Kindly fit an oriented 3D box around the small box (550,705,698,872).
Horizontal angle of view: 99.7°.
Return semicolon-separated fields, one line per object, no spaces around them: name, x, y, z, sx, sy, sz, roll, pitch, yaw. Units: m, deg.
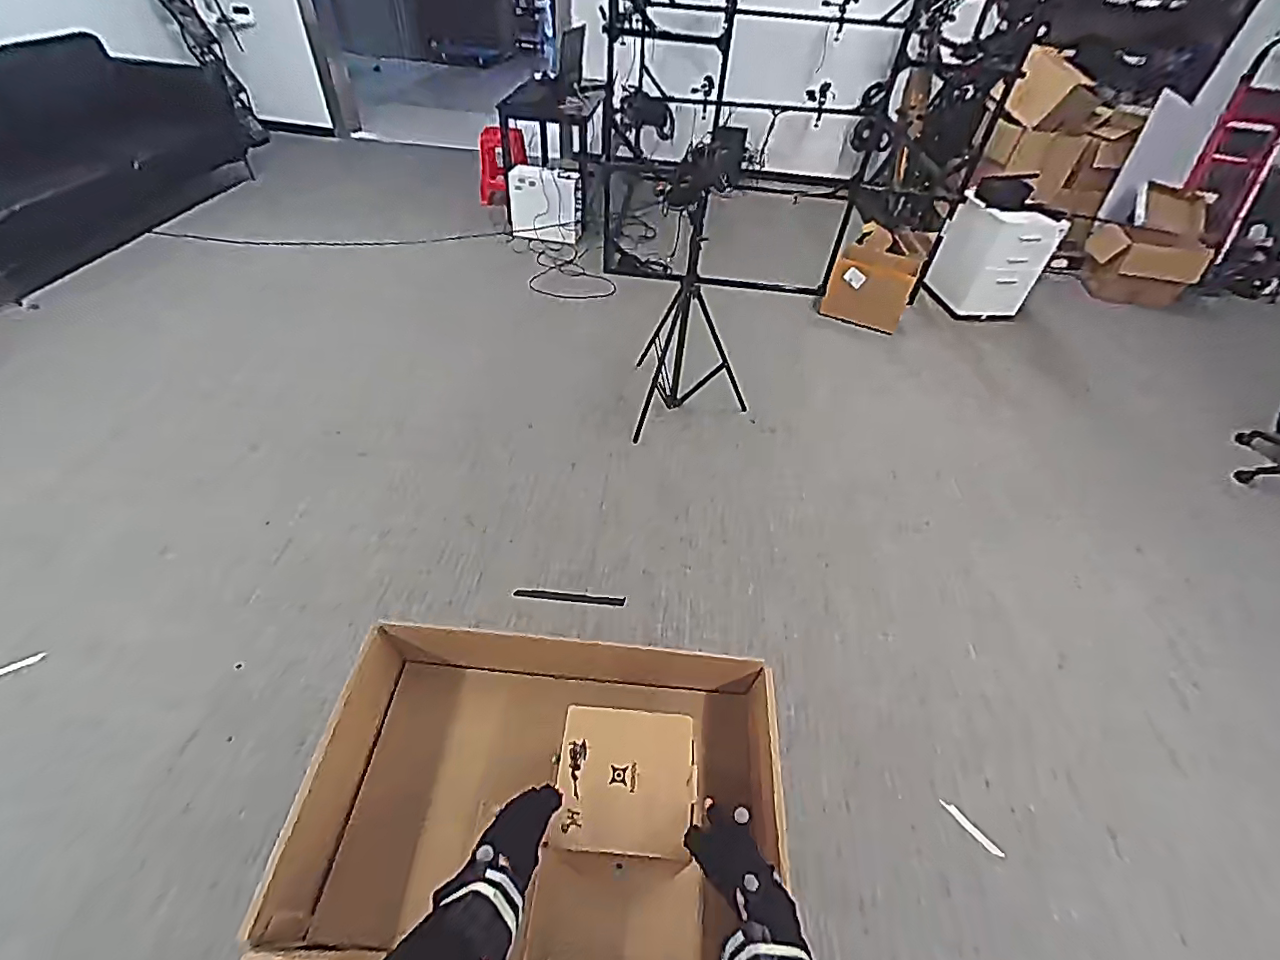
small box;-0.019;0.430;0.748;0.179;0.176;0.168;5;49;1
